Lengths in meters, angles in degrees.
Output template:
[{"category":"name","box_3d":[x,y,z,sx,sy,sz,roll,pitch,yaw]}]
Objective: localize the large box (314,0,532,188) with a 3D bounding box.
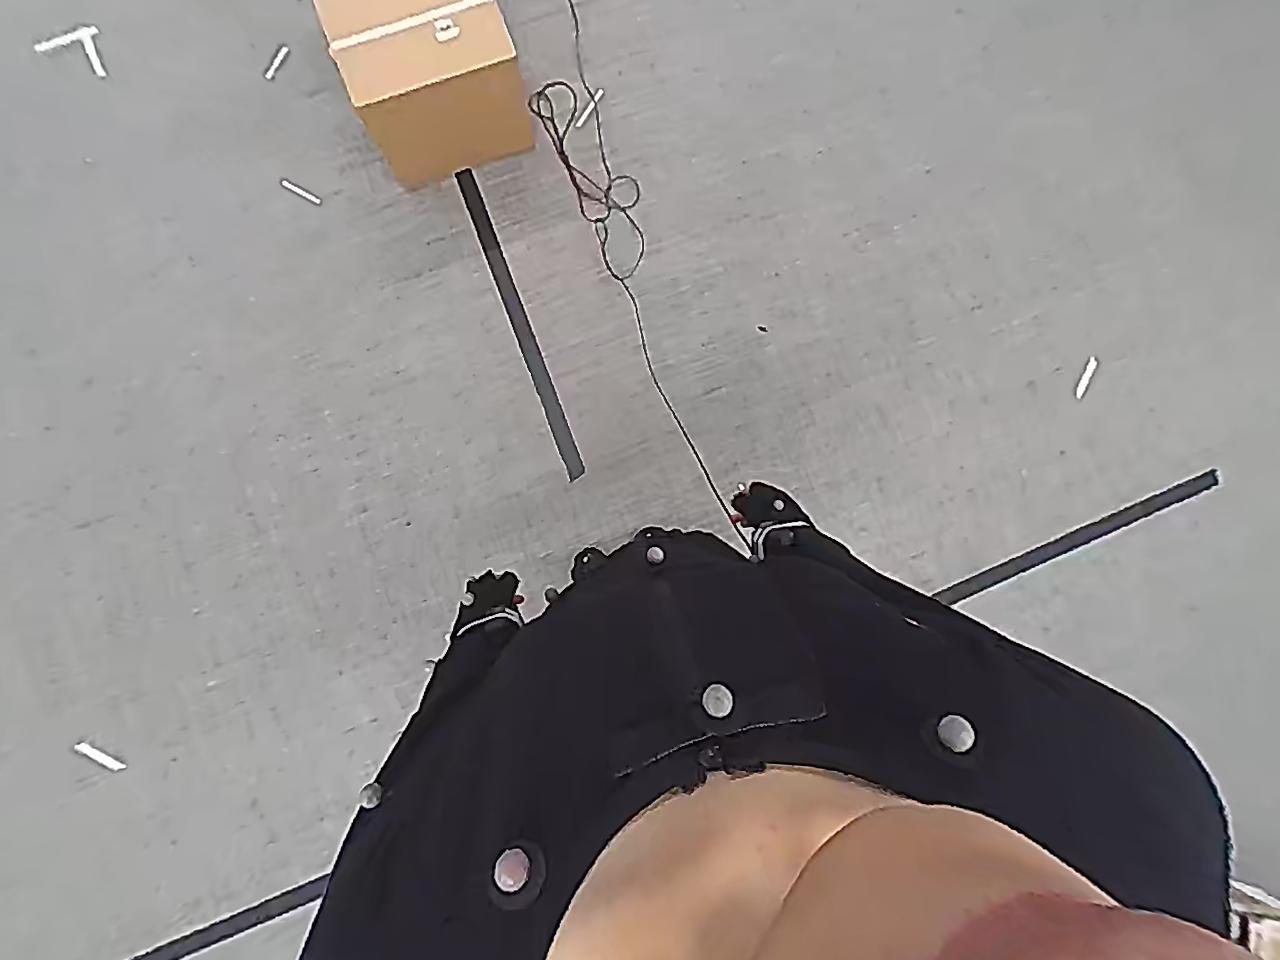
[{"category":"large box","box_3d":[-0.544,-1.060,1.430,0.408,0.320,0.320,-22,86,-5]}]
